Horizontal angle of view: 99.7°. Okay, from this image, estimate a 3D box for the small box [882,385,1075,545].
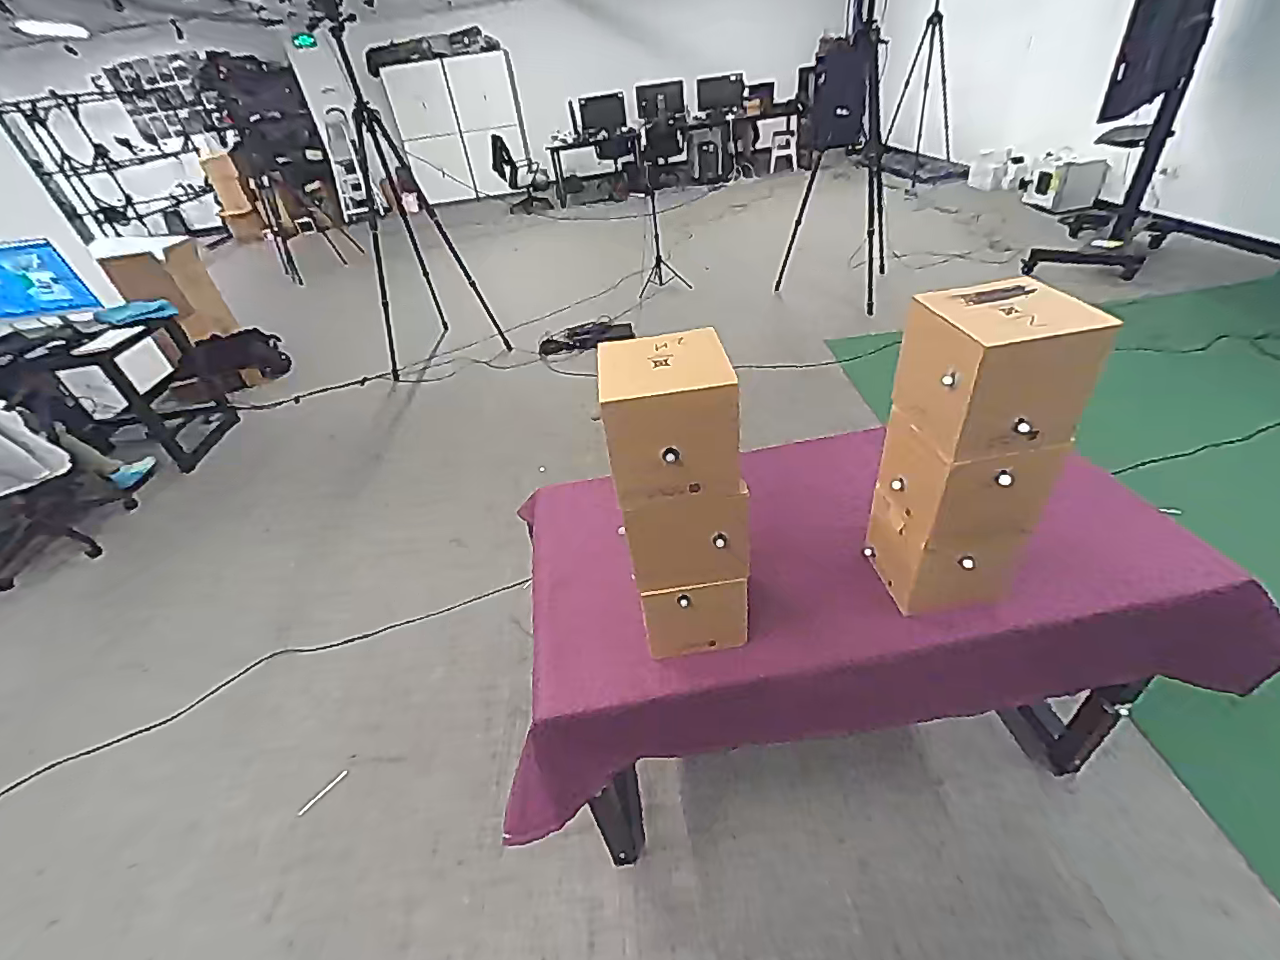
[{"bbox_3d":[0.500,-0.022,0.833,0.179,0.176,0.168,-10,38,0],"label":"small box"}]

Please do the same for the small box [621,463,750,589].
[{"bbox_3d":[0.066,0.046,0.835,0.179,0.176,0.168,-8,37,2],"label":"small box"}]

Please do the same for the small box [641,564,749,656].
[{"bbox_3d":[0.087,0.174,0.934,0.168,0.176,0.179,-10,37,1],"label":"small box"}]

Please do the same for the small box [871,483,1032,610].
[{"bbox_3d":[0.517,0.105,0.933,0.179,0.176,0.168,-9,38,0],"label":"small box"}]

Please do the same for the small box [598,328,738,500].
[{"bbox_3d":[0.039,-0.085,0.739,0.168,0.176,0.179,-7,37,2],"label":"small box"}]
